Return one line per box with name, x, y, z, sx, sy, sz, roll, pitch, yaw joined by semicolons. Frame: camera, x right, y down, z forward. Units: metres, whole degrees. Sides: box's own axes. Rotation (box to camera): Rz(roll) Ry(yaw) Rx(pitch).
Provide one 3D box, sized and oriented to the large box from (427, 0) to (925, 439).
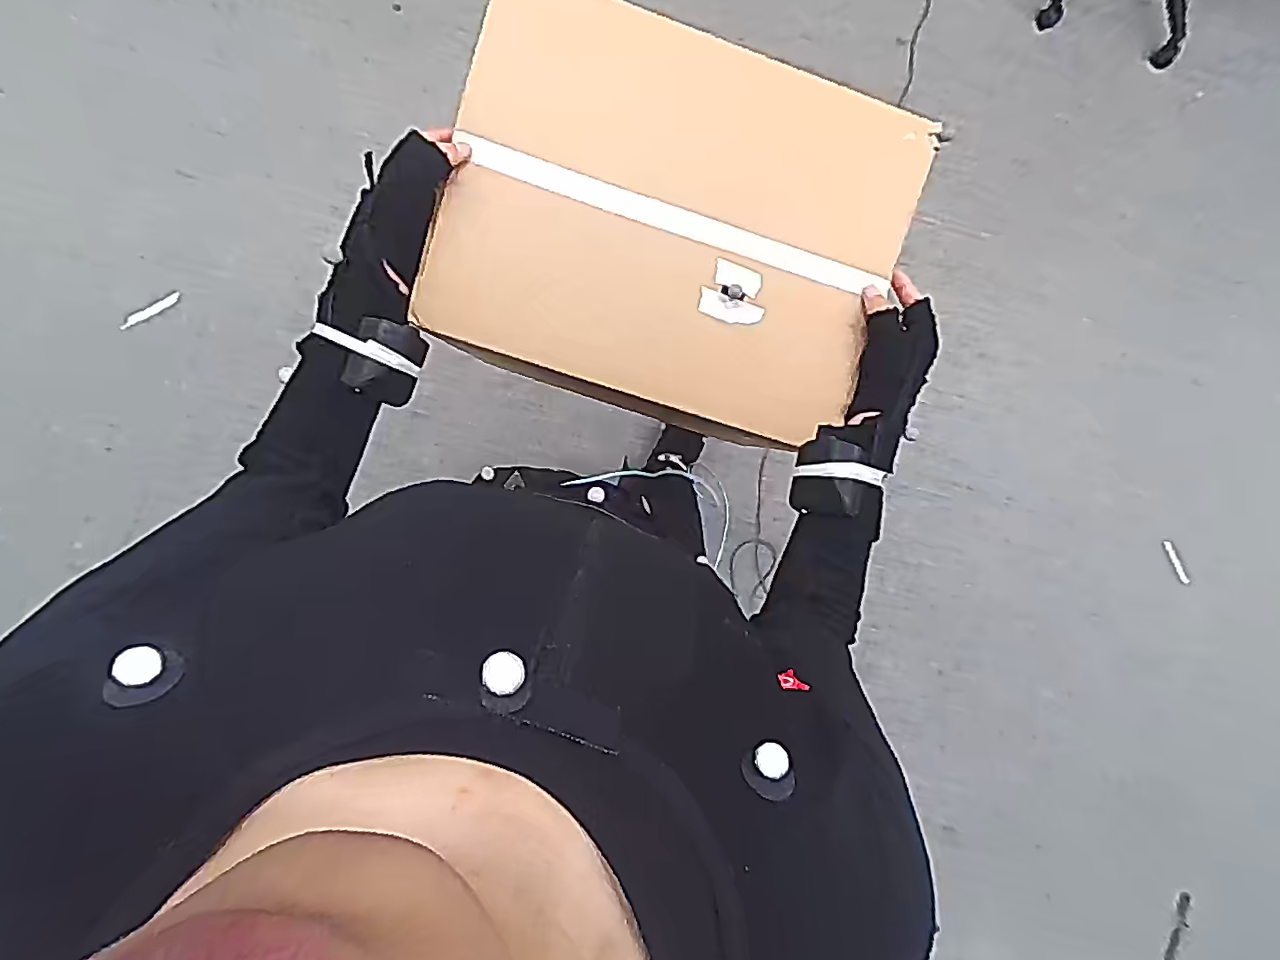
large box;0.023;-0.251;0.641;0.408;0.320;0.320;17;95;-7
